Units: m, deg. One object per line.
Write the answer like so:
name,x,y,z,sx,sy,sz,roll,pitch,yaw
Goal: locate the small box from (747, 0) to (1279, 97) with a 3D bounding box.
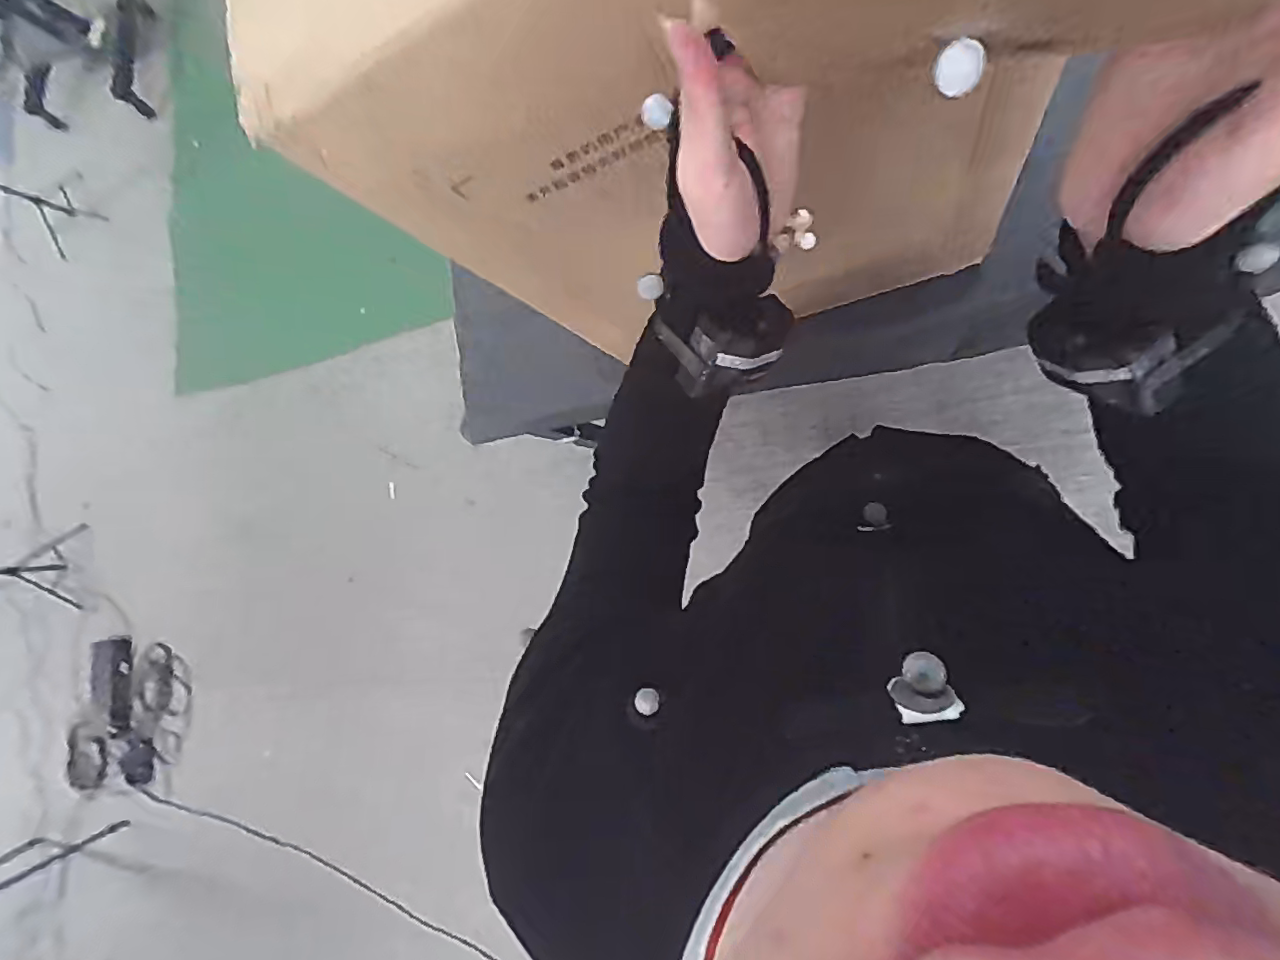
small box,0.110,-0.216,0.127,0.168,0.176,0.179,8,118,18
